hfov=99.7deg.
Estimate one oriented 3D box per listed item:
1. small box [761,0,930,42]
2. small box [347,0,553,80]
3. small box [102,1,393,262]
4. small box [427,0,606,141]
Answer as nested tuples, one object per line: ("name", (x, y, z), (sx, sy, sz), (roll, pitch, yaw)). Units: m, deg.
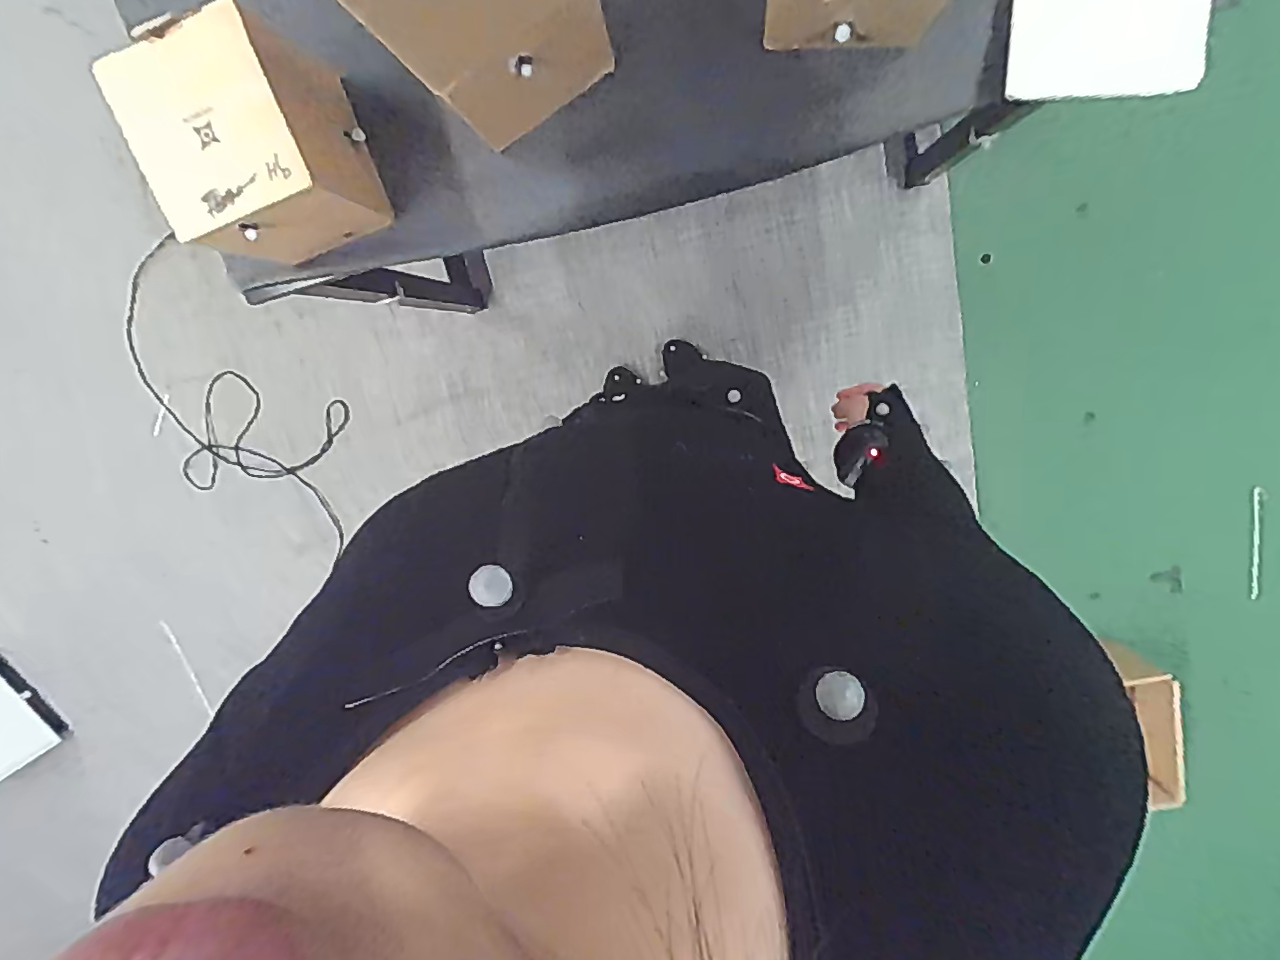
("small box", (0.209, -0.557, 0.507), (0.168, 0.176, 0.179), (3, 105, 6))
("small box", (-0.169, -0.454, 0.403), (0.179, 0.176, 0.168), (-27, 101, 11))
("small box", (-0.424, -0.372, 0.618), (0.168, 0.176, 0.179), (-18, 102, 9))
("small box", (-0.155, -0.498, 0.561), (0.179, 0.176, 0.168), (-29, 101, 11))
